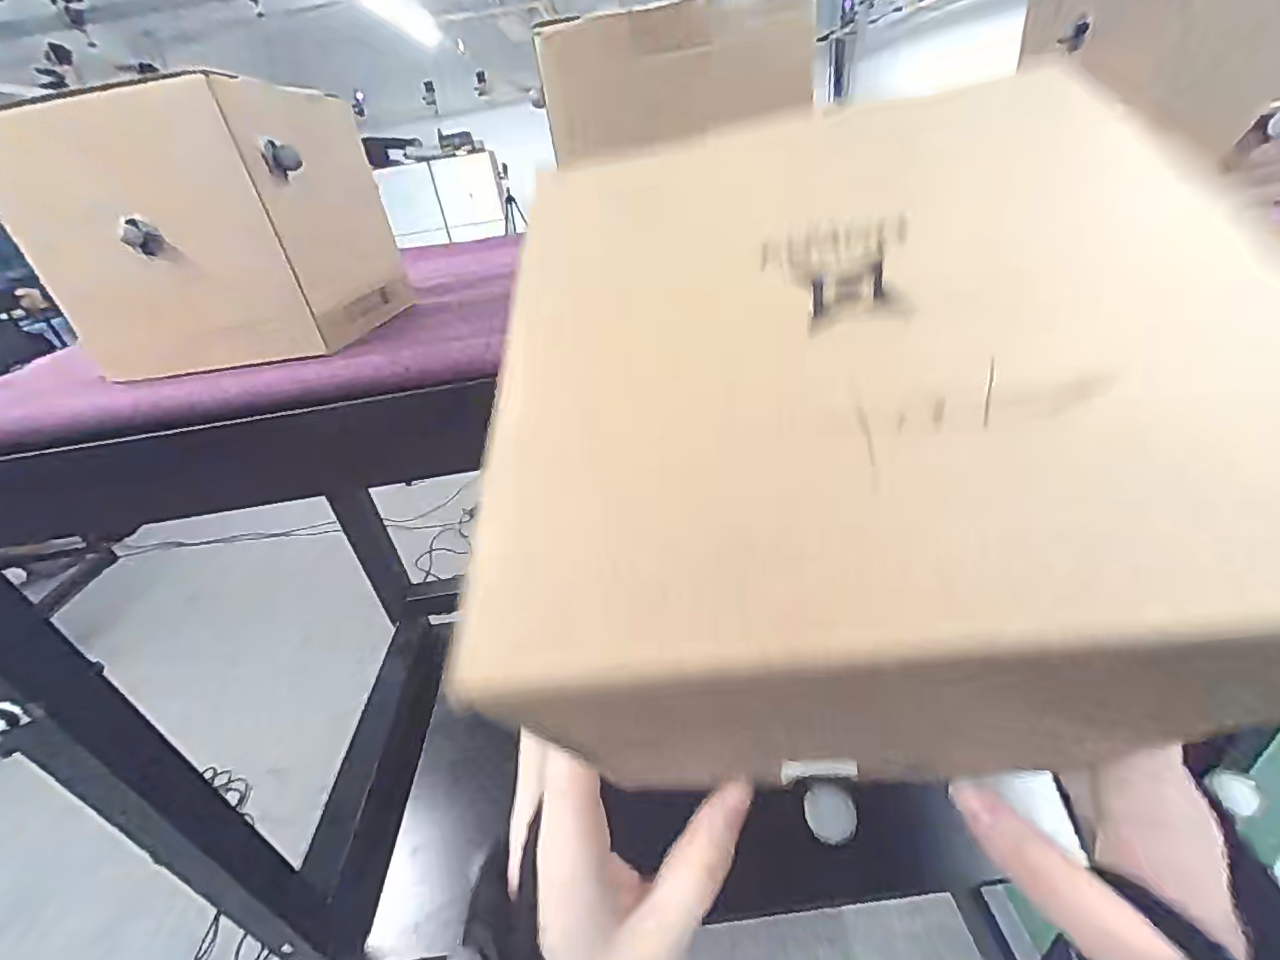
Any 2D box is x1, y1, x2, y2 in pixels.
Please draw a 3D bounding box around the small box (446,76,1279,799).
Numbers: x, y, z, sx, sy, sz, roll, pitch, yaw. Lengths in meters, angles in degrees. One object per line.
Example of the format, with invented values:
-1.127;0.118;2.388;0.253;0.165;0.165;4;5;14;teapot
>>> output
0.060;0.003;0.192;0.168;0.176;0.179;-8;55;9;small box
